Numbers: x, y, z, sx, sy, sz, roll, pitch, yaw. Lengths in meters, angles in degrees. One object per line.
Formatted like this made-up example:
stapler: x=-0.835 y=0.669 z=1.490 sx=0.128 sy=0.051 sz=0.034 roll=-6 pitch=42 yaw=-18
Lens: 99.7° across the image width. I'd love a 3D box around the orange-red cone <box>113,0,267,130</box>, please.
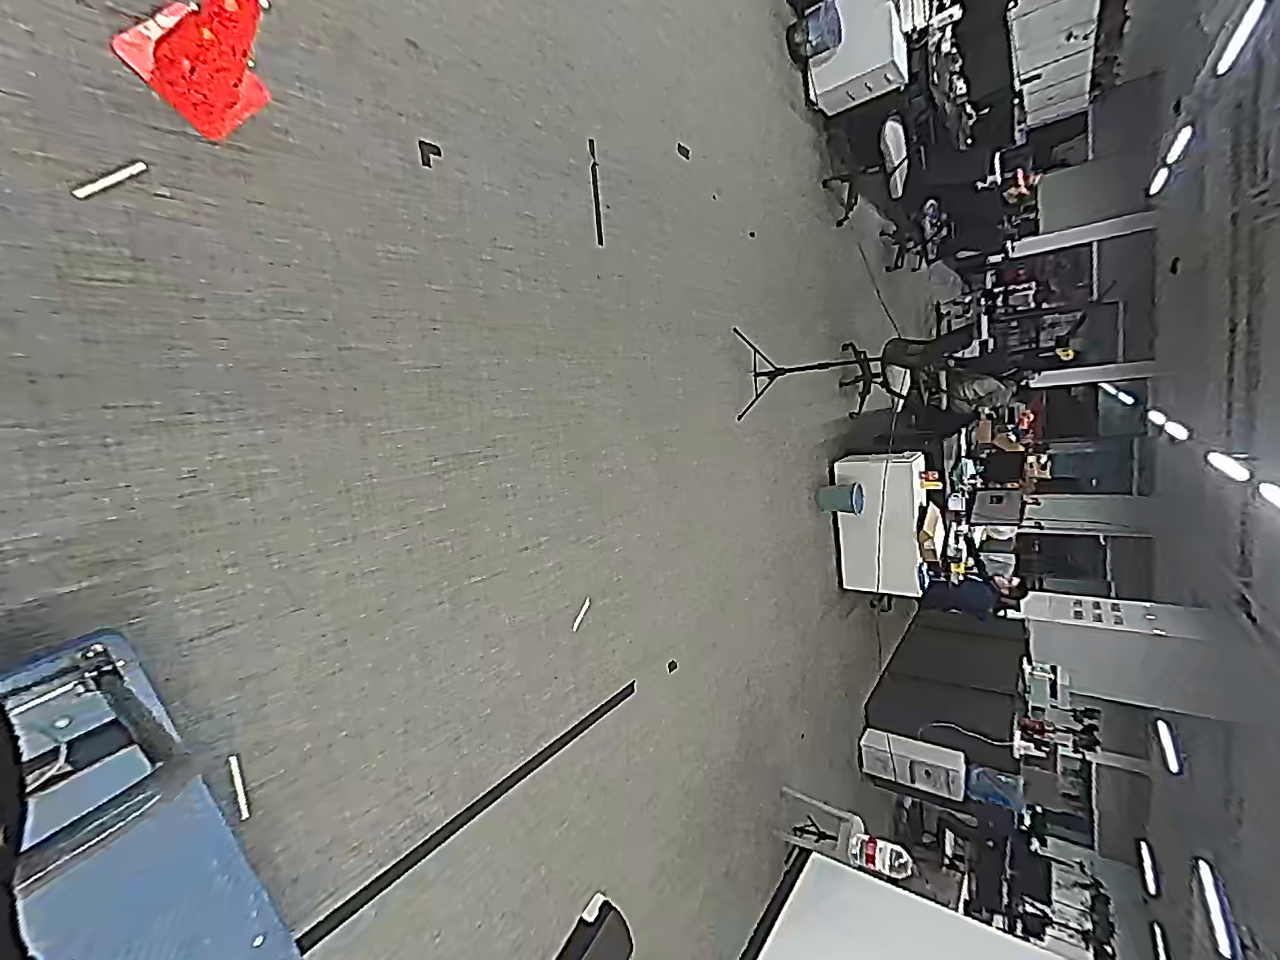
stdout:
orange-red cone: x=-0.788 y=-0.858 z=1.015 sx=0.198 sy=0.360 sz=0.199 roll=49 pitch=55 yaw=-39
